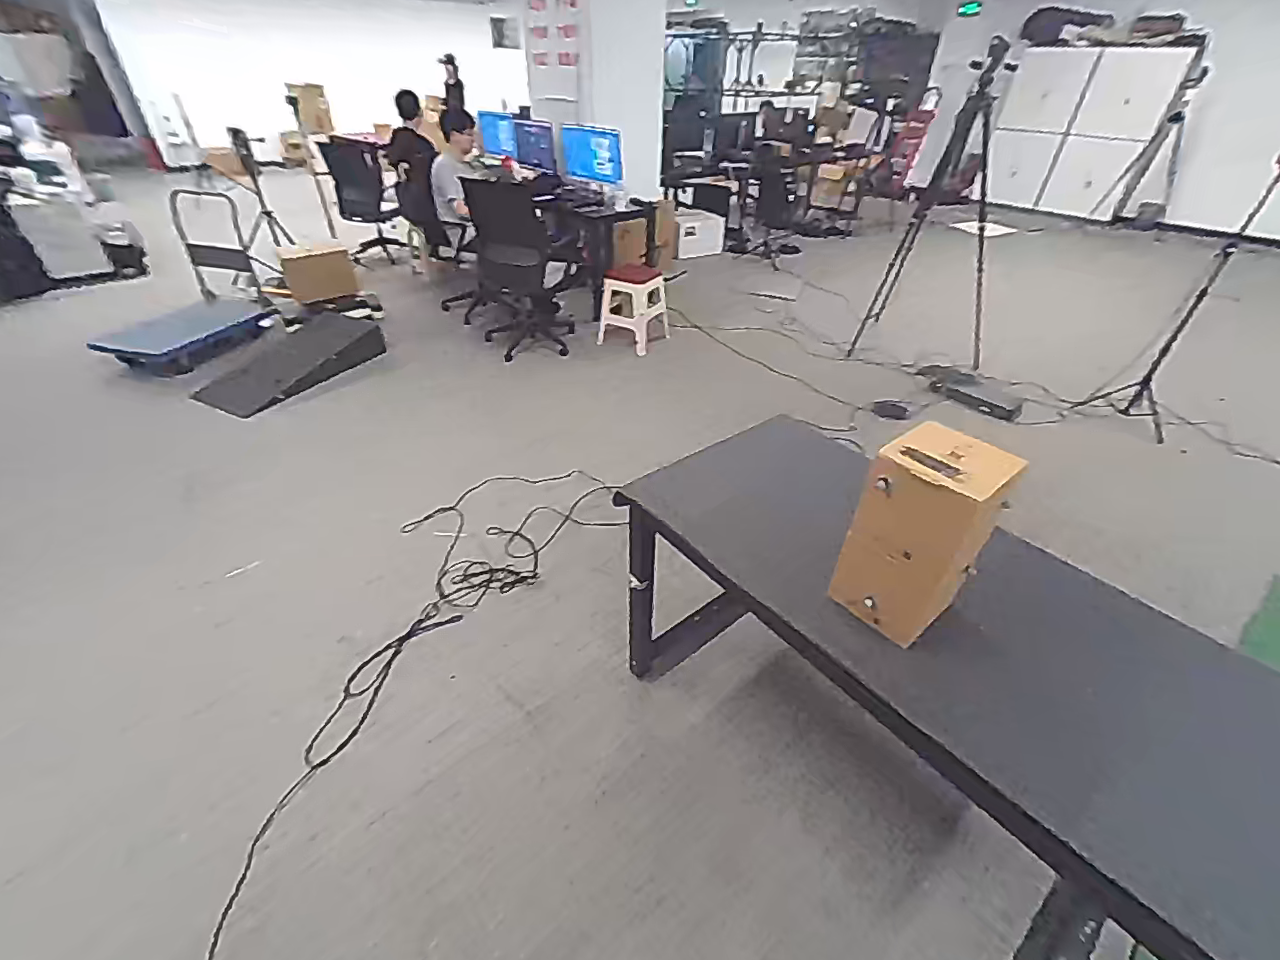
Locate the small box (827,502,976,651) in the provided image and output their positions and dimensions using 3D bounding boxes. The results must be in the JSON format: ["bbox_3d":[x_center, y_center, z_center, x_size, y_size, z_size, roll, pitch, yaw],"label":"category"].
[{"bbox_3d":[0.472,0.175,0.999,0.179,0.176,0.168,-25,44,-32],"label":"small box"}]
